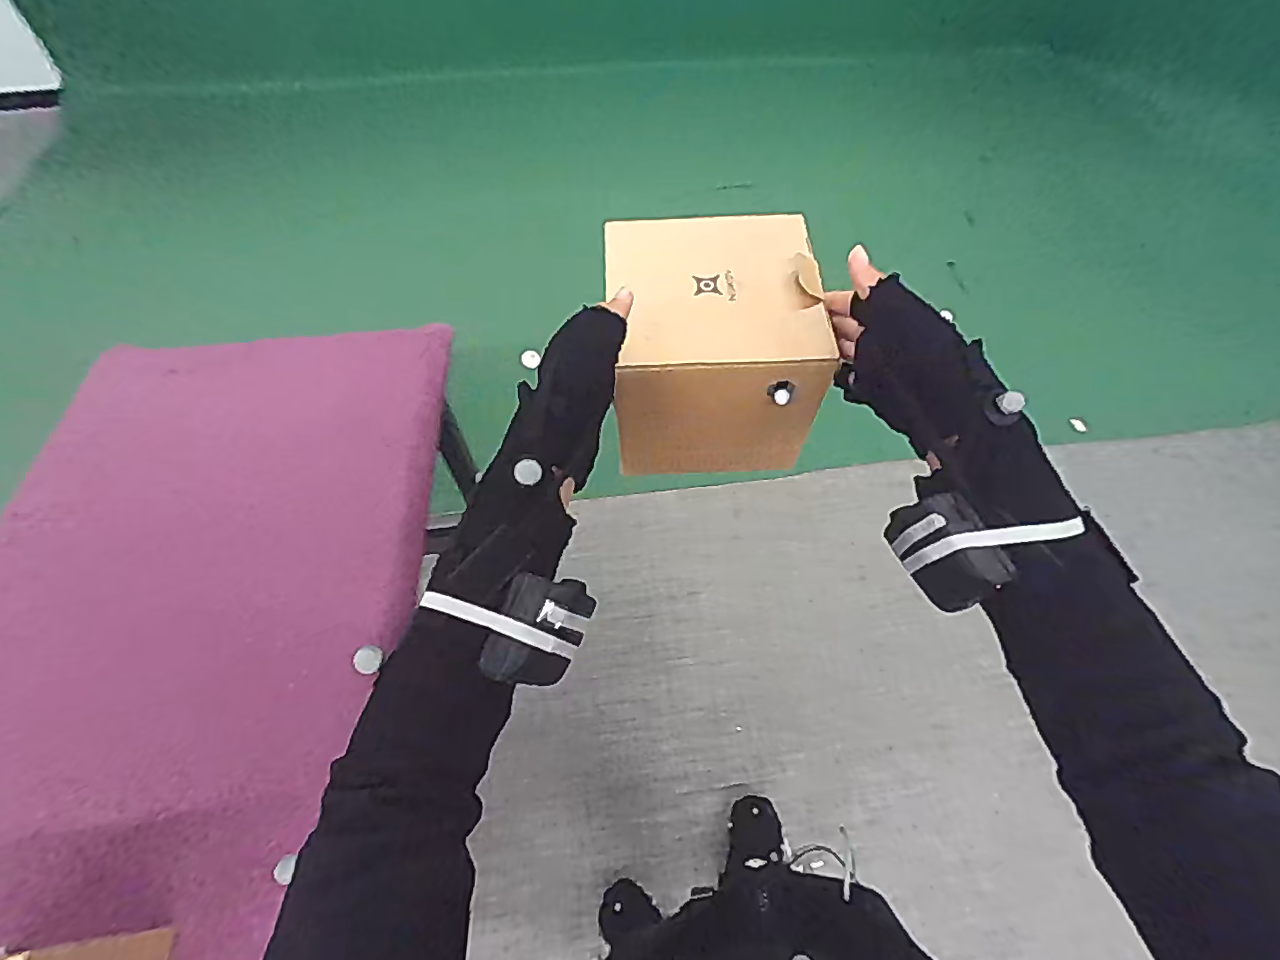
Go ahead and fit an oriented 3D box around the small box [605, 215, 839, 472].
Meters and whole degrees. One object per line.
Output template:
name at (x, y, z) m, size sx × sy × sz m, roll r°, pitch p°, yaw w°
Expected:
small box at (0.062, -0.117, 0.506) m, size 0.179 × 0.176 × 0.168 m, roll -2°, pitch 61°, yaw 1°
